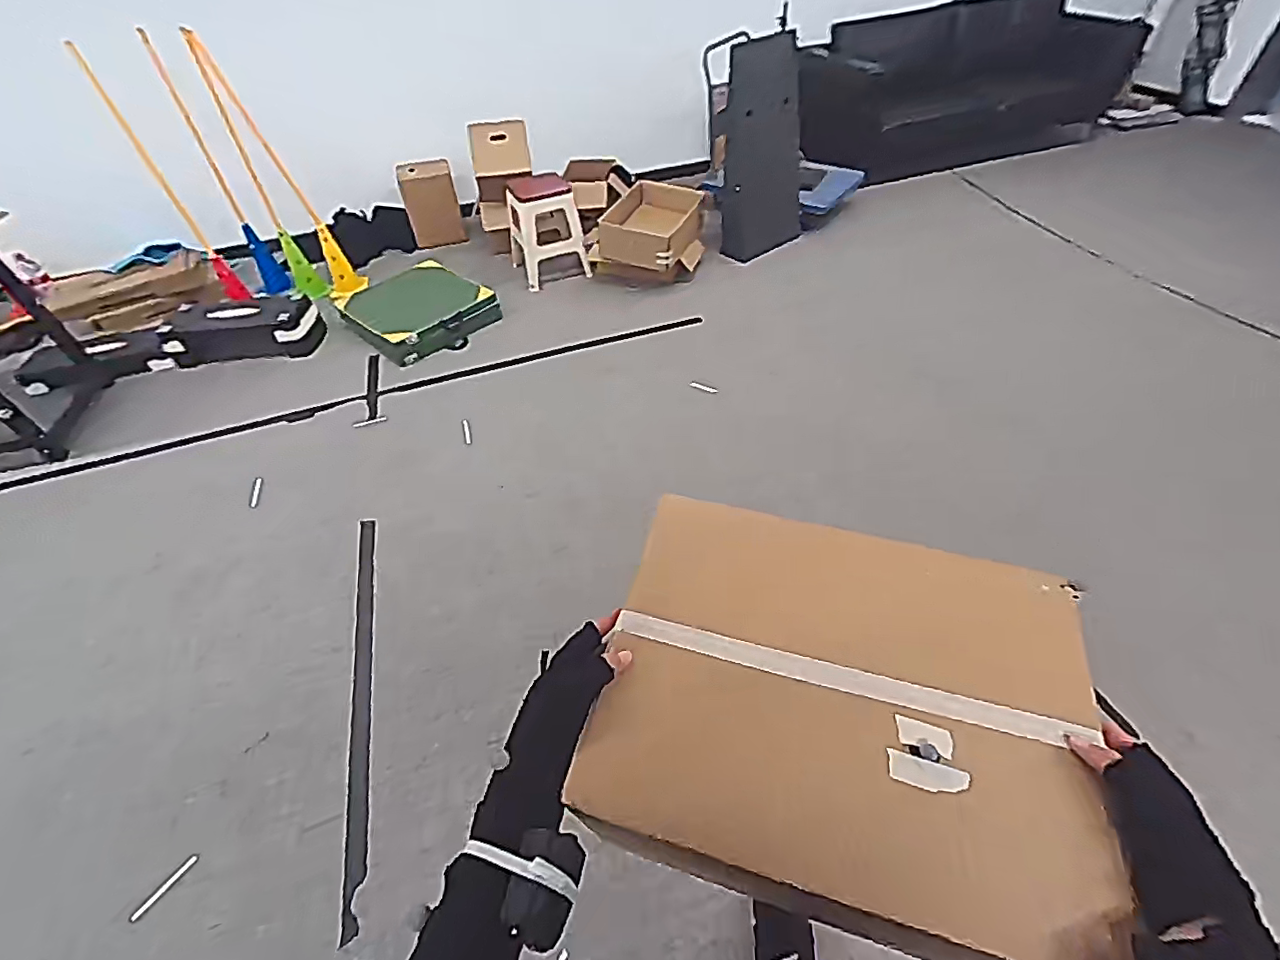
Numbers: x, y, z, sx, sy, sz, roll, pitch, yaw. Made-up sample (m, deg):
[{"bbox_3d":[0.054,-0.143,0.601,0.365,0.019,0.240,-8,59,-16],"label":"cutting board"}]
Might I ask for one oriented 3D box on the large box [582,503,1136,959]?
[{"bbox_3d":[0.185,0.269,0.600,0.408,0.320,0.320,12,54,12],"label":"large box"}]
